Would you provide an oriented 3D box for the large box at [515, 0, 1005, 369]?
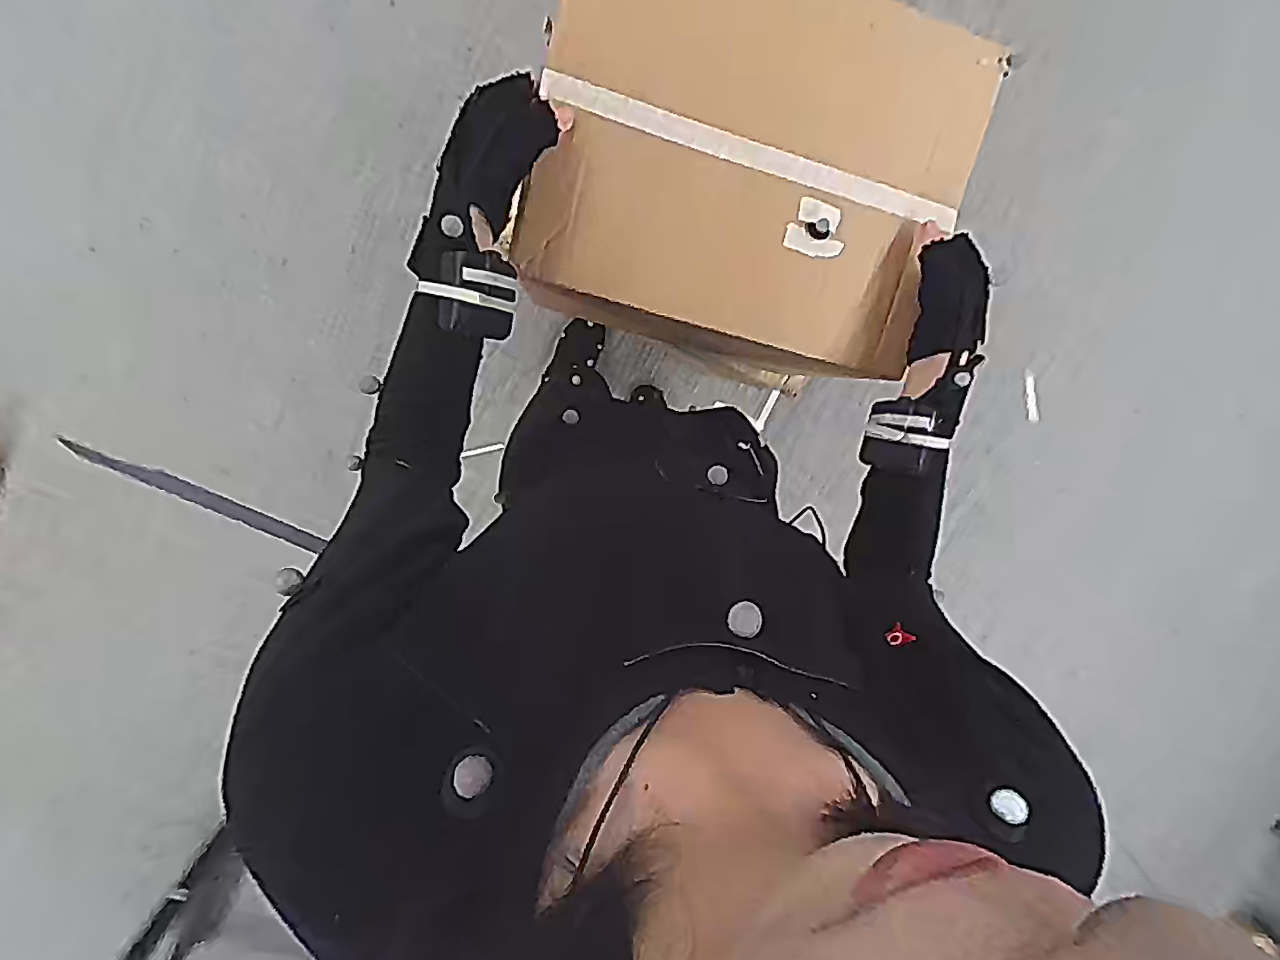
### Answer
[{"bbox_3d":[0.089,-0.323,0.627,0.408,0.320,0.320,11,101,-10],"label":"large box"}]
